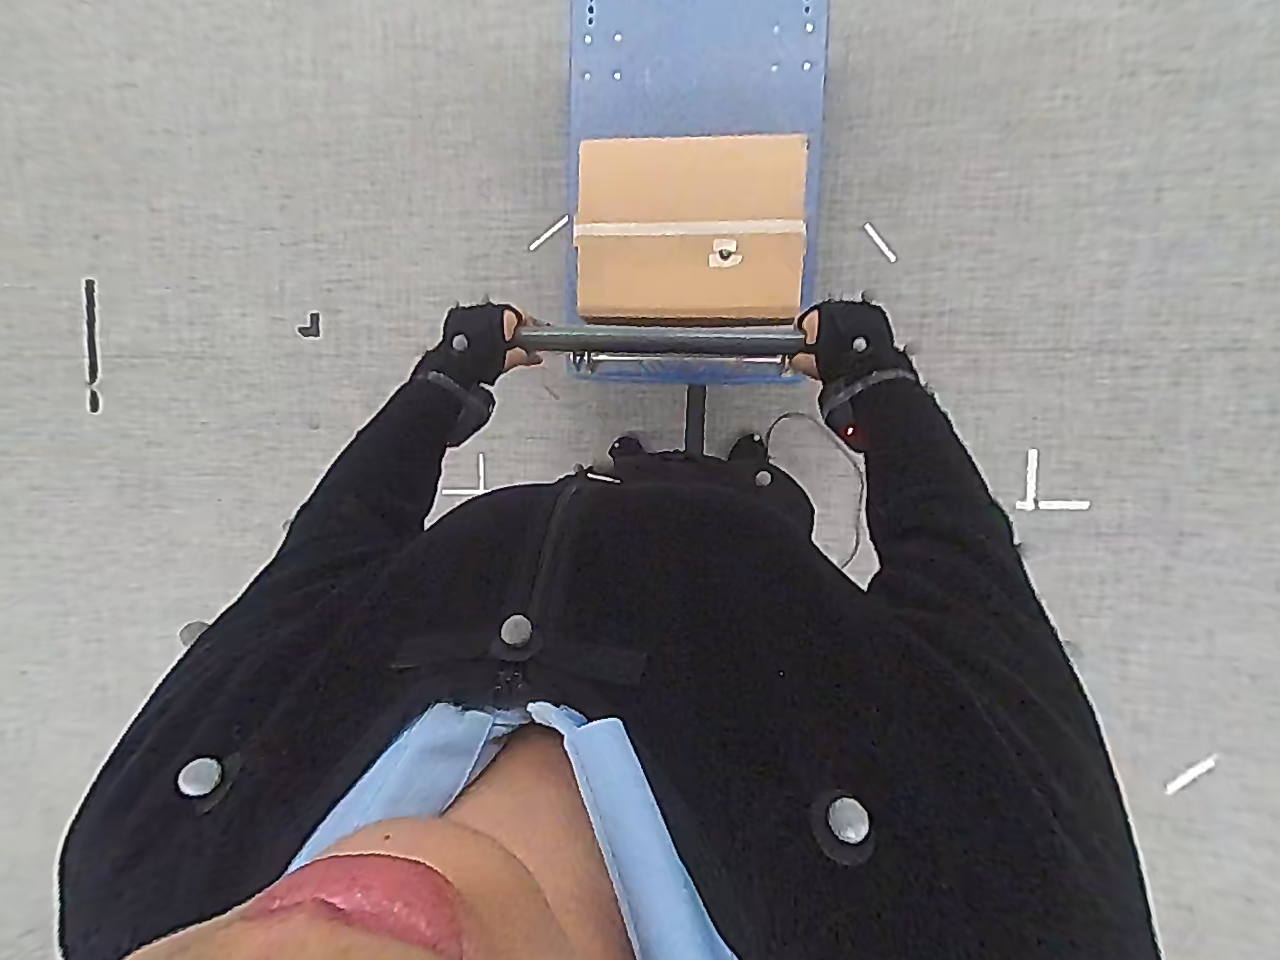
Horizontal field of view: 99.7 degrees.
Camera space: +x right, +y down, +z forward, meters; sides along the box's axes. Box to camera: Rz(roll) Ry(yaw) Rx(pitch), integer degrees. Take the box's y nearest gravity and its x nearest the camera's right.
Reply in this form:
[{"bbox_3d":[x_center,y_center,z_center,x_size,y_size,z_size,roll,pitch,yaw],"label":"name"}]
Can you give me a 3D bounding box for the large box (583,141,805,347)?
[{"bbox_3d":[0.105,-0.461,1.131,0.408,0.320,0.320,1,96,5],"label":"large box"}]
